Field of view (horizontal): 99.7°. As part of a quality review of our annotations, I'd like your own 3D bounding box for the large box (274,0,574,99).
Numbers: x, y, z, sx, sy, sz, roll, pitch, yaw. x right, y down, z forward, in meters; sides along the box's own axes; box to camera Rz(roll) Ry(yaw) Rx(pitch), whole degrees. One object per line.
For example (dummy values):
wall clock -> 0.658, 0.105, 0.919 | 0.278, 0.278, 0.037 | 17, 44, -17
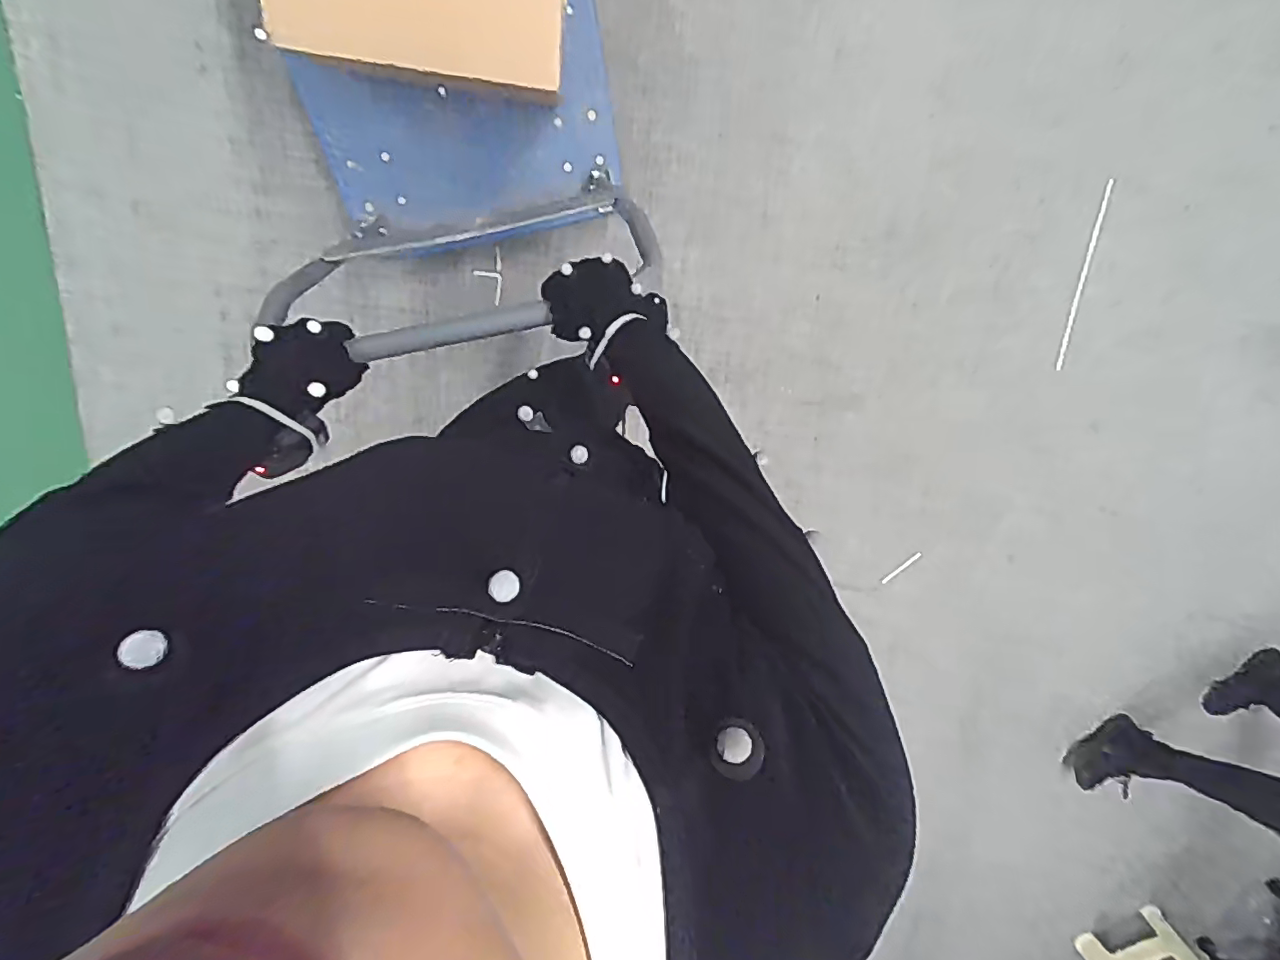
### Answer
large box -> -0.307, -0.807, 0.839 | 0.408, 0.320, 0.320 | 3, 121, -8
